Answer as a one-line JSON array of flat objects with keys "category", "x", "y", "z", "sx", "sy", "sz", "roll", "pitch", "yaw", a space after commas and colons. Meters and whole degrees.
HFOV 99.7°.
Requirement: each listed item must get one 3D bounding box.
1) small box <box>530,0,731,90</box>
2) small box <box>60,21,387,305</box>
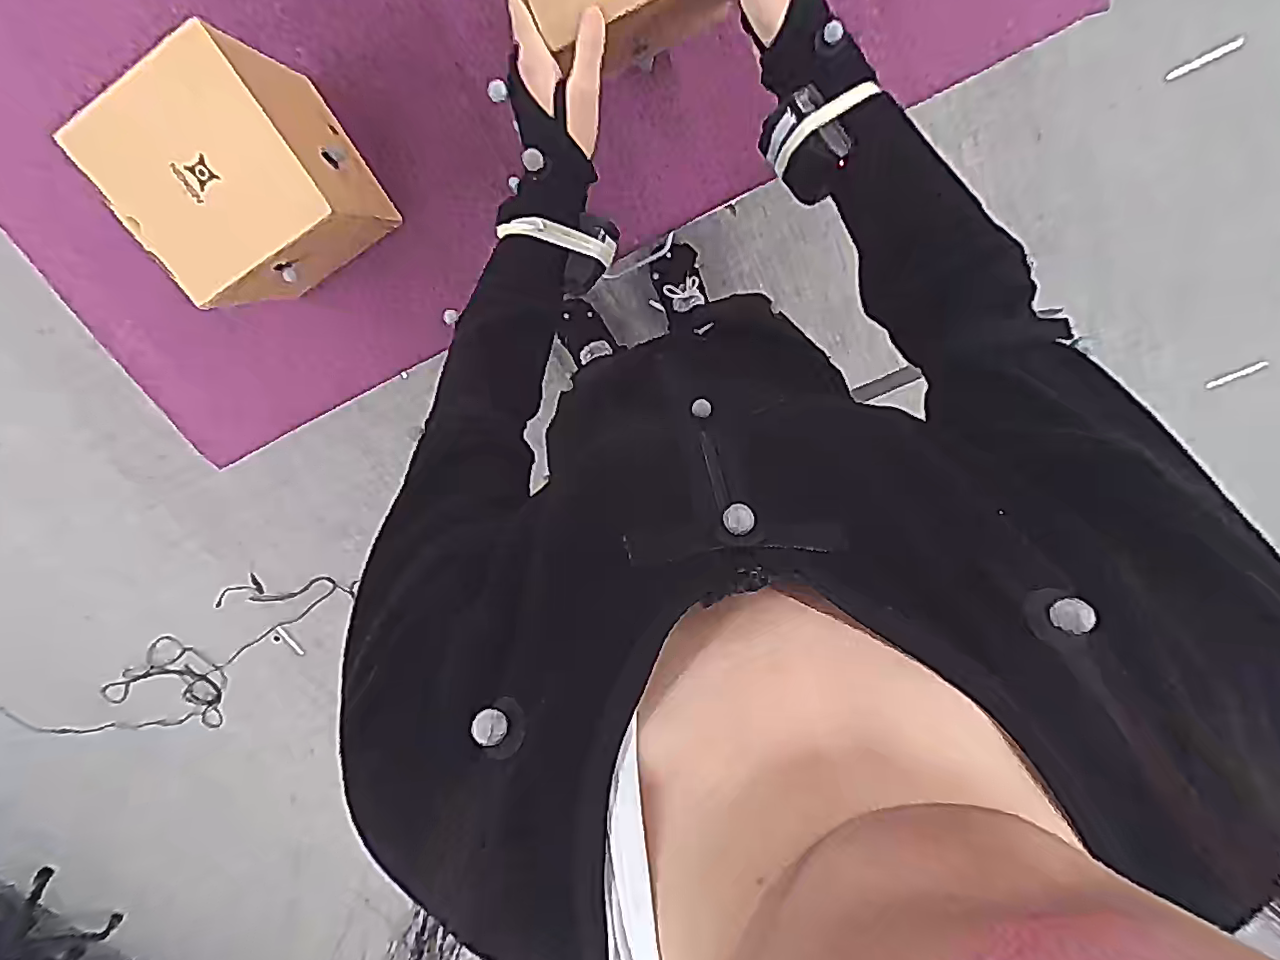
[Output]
[{"category": "small box", "x": -0.025, "y": -0.453, "z": 0.429, "sx": 0.168, "sy": 0.176, "sz": 0.179, "roll": -20, "pitch": 116, "yaw": 9}, {"category": "small box", "x": -0.392, "y": -0.305, "z": 0.554, "sx": 0.179, "sy": 0.176, "sz": 0.168, "roll": -28, "pitch": 111, "yaw": 12}]
